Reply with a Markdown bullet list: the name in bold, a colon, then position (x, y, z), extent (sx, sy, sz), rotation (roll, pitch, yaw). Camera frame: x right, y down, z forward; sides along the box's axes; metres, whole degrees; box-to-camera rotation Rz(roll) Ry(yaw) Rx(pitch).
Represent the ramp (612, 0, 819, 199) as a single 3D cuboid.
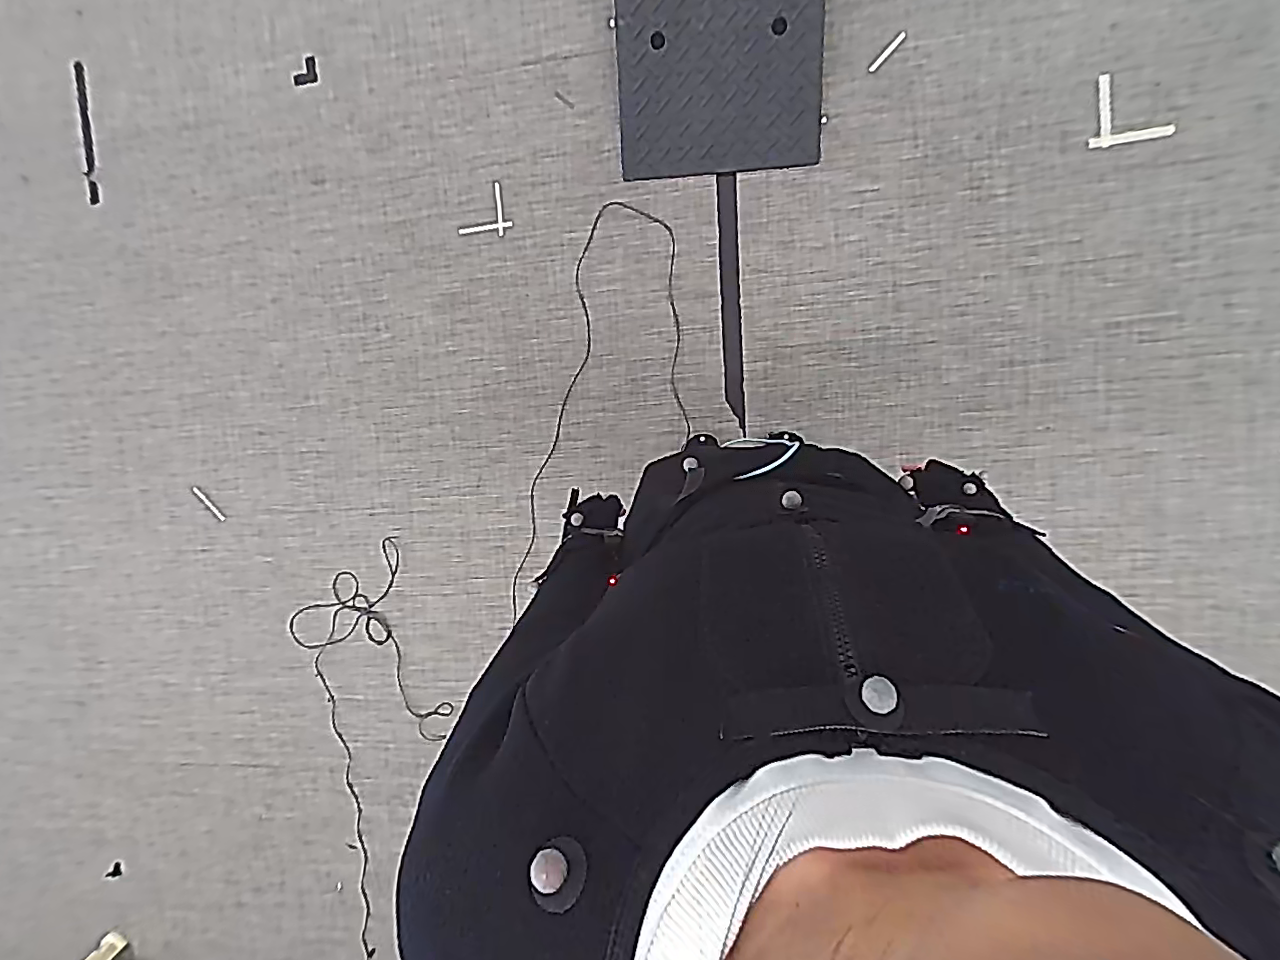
- **ramp**: position (0.171, -1.233, 1.272), extent (0.509, 0.206, 0.991), rotation (-4, 94, 8)
